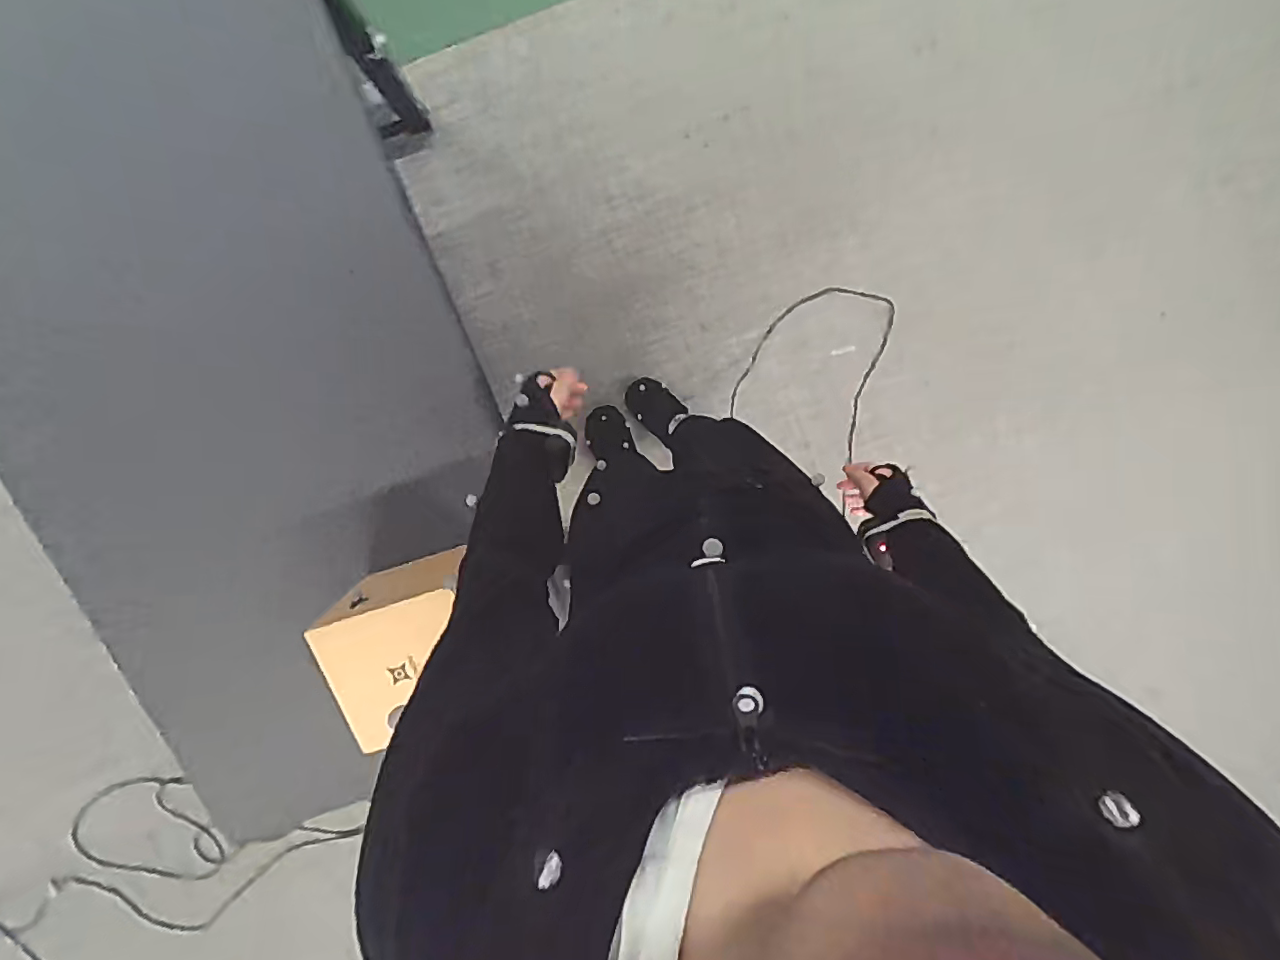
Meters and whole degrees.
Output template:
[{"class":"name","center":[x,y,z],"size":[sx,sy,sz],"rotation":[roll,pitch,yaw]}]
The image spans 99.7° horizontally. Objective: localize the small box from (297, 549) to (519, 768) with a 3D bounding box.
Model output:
[{"class":"small box","center":[-0.266,0.205,0.667],"size":[0.179,0.176,0.168],"rotation":[-18,102,-2]}]
